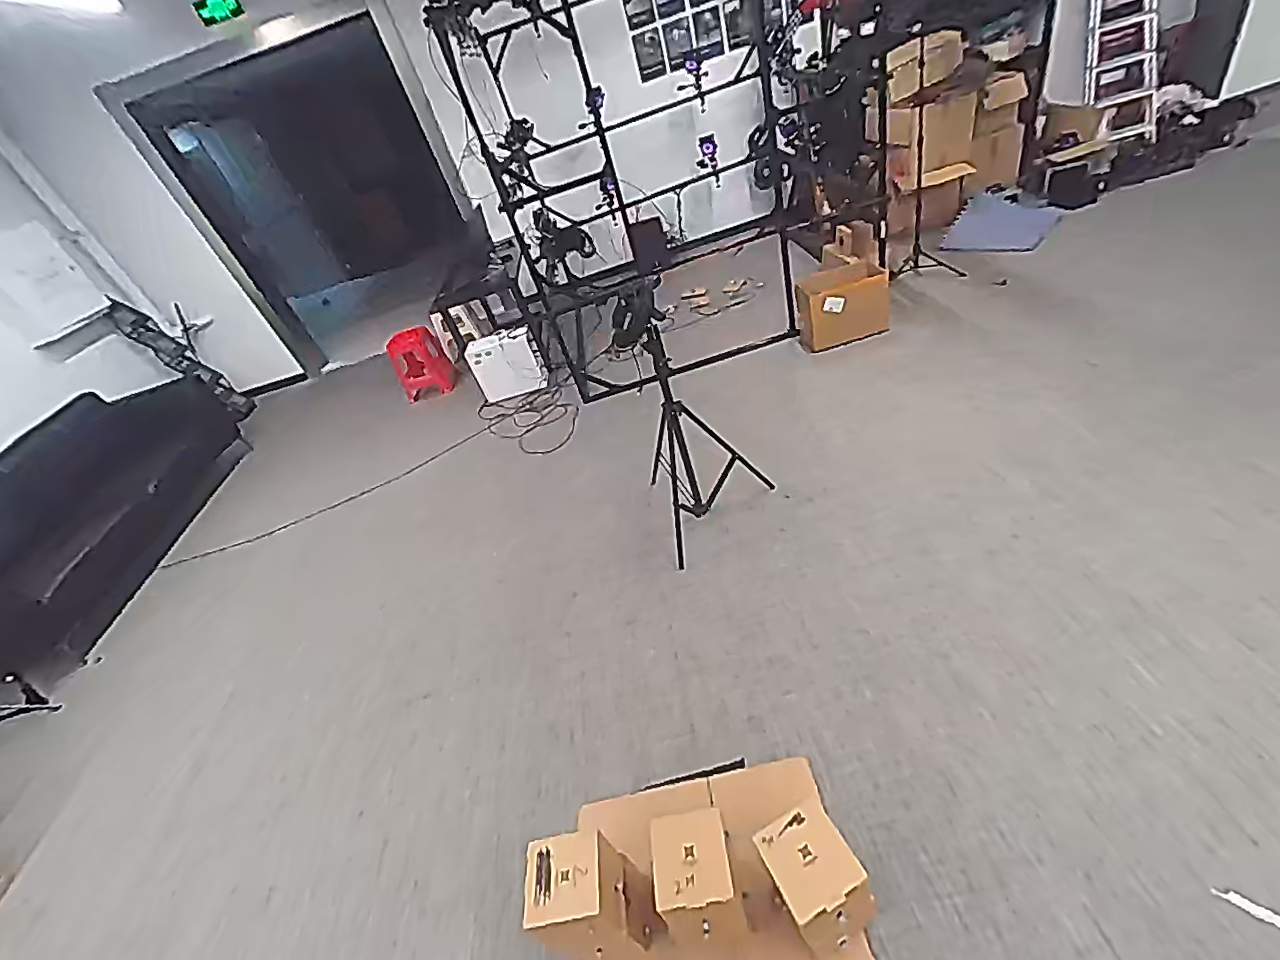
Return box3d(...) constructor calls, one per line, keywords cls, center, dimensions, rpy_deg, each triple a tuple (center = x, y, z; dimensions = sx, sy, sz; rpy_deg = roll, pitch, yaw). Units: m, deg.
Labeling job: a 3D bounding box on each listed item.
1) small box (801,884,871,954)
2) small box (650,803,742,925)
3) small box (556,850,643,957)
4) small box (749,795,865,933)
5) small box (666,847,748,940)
box3d(cls="small box", center=(0.413, 0.948, 1.261), dimensions=(0.168, 0.176, 0.179), rpy_deg=(-29, 37, -10))
box3d(cls="small box", center=(0.124, 0.866, 1.219), dimensions=(0.168, 0.176, 0.179), rpy_deg=(-14, 38, 7))
box3d(cls="small box", center=(-0.097, 1.057, 1.350), dimensions=(0.179, 0.176, 0.168), rpy_deg=(-17, 37, 6))
box3d(cls="small box", center=(0.361, 0.829, 1.161), dimensions=(0.168, 0.176, 0.179), rpy_deg=(-27, 39, -9))
box3d(cls="small box", center=(0.159, 0.993, 1.318), dimensions=(0.179, 0.176, 0.168), rpy_deg=(-15, 38, 7))
